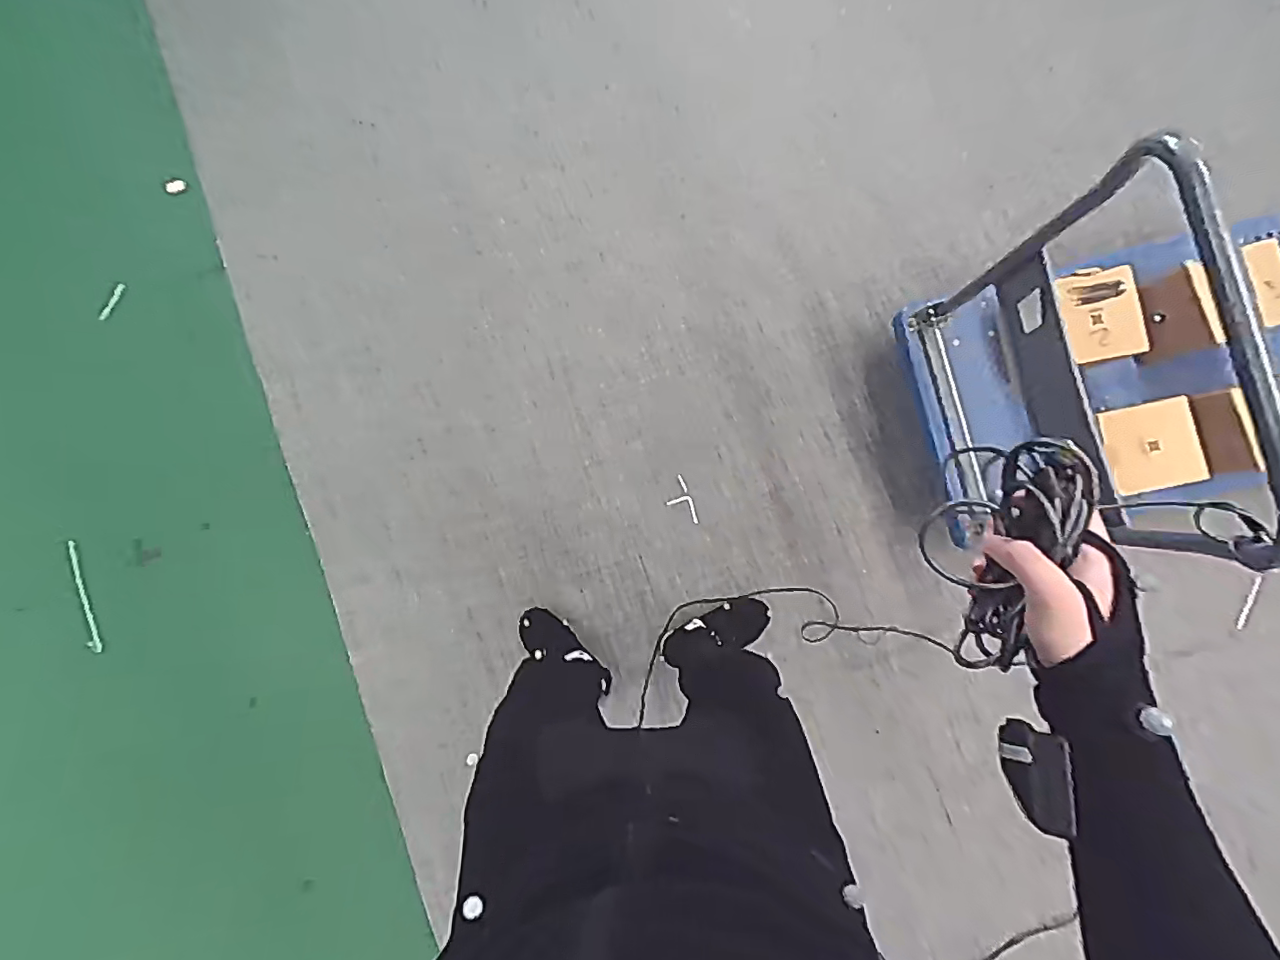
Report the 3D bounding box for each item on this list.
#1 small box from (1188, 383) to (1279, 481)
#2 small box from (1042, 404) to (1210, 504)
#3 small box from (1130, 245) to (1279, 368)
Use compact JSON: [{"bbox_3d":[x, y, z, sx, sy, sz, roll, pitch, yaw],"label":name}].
[{"bbox_3d":[1.235,-0.098,1.096,0.179,0.176,0.168,-15,85,3],"label":"small box"},{"bbox_3d":[0.984,-0.048,1.109,0.179,0.176,0.168,-12,86,3],"label":"small box"},{"bbox_3d":[1.172,-0.347,1.115,0.179,0.176,0.168,-17,87,2],"label":"small box"}]
